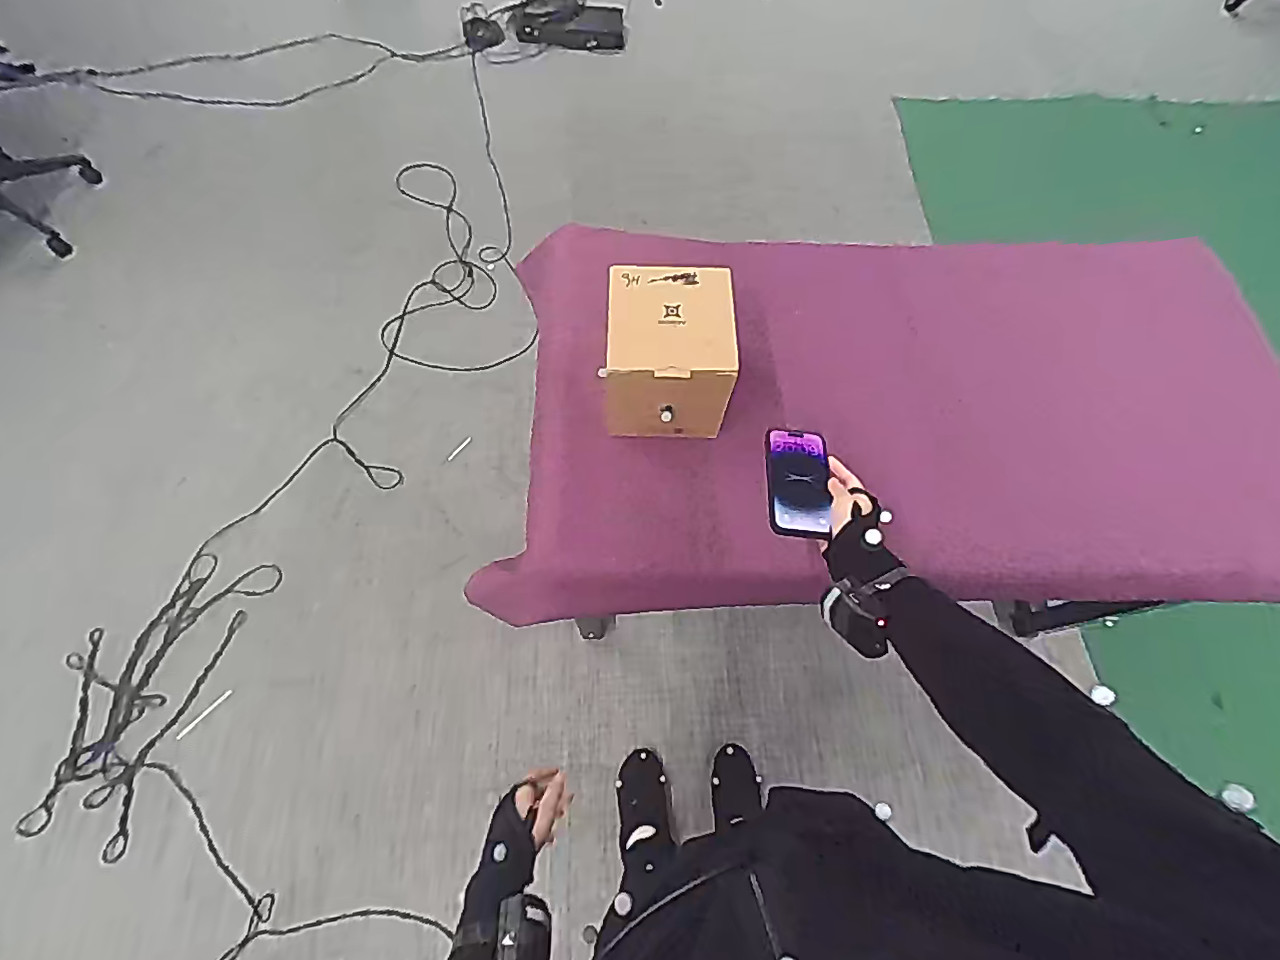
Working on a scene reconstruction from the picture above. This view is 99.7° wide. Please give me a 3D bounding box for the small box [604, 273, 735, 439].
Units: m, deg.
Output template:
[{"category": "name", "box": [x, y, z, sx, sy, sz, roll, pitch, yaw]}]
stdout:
[{"category": "small box", "box": [0.039, -0.170, 0.776, 0.168, 0.176, 0.179, 1, 66, -1]}]
